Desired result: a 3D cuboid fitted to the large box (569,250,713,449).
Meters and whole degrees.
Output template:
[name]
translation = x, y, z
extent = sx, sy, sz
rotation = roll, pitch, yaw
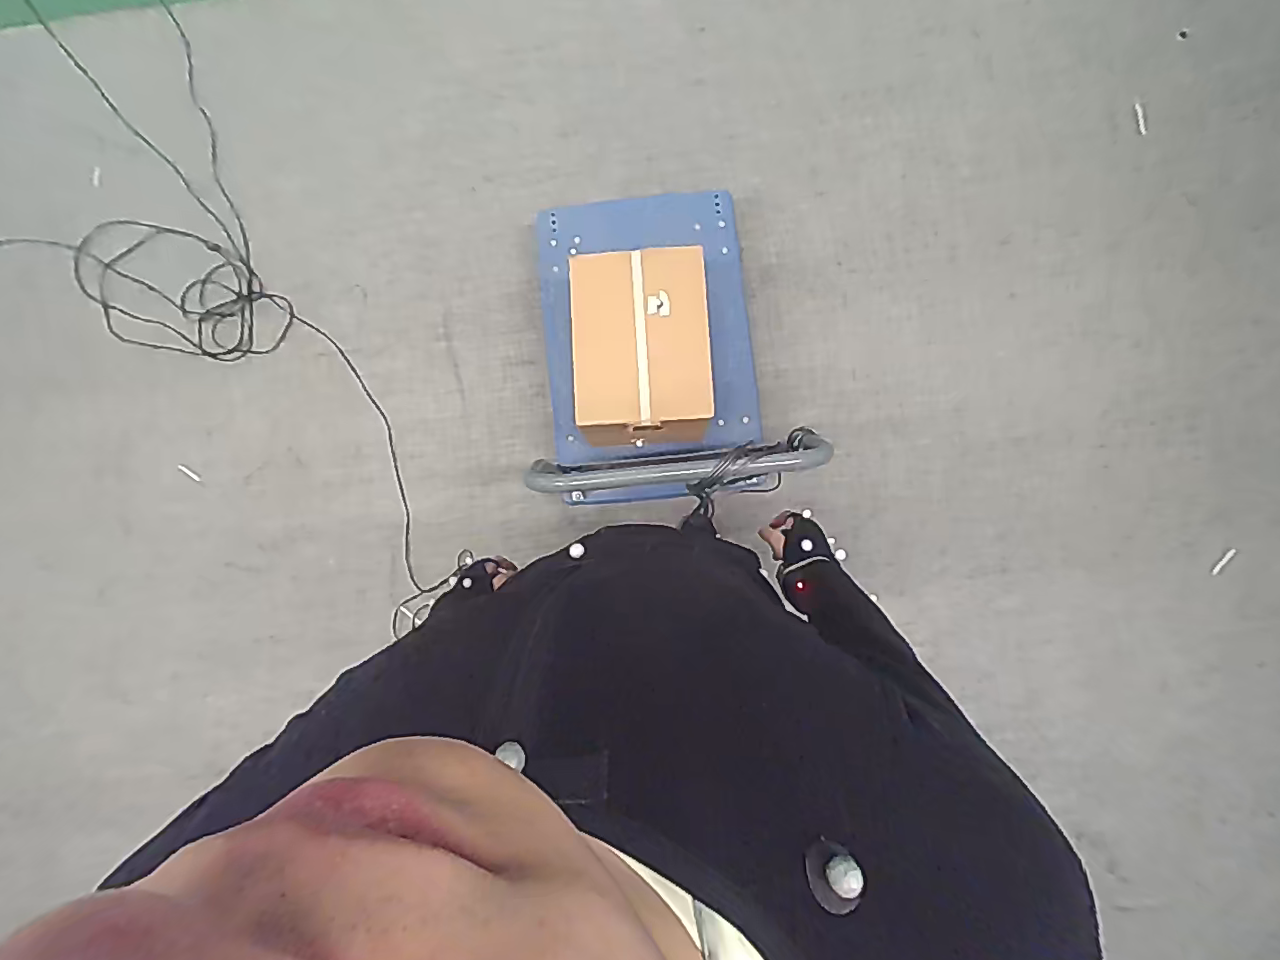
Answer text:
[large box]
translation = 0.004, -0.309, 1.379
extent = 0.320, 0.320, 0.408
rotation = -3, 84, 1
